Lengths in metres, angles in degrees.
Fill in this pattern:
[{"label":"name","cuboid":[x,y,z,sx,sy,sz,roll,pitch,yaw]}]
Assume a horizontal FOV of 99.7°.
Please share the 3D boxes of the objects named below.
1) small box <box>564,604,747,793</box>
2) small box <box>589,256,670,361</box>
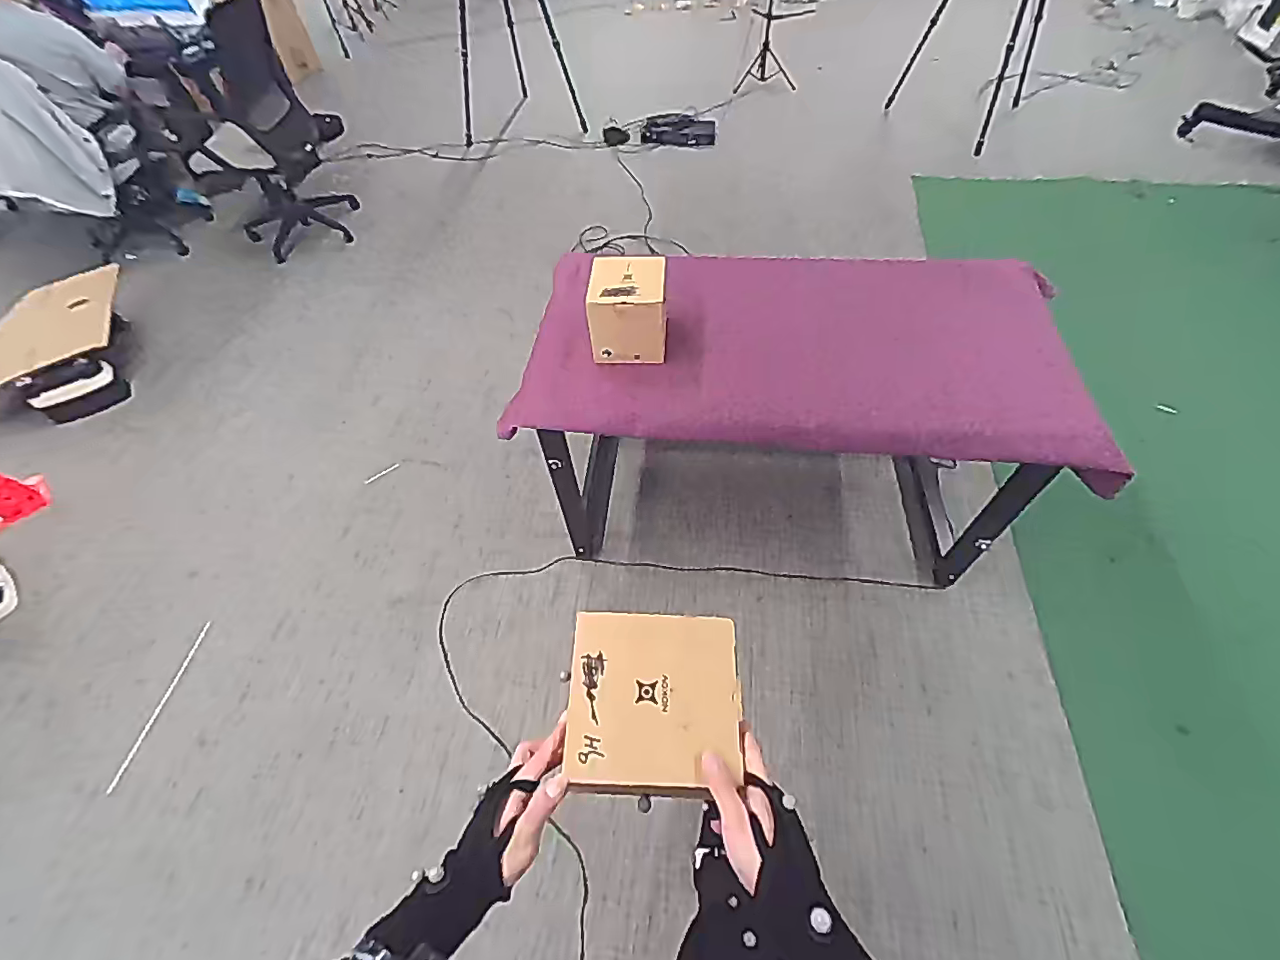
[{"label":"small box","cuboid":[0.013,0.254,0.616,0.179,0.176,0.168,4,56,-2]},{"label":"small box","cuboid":[-0.017,-0.390,1.242,0.168,0.176,0.179,2,54,4]}]
